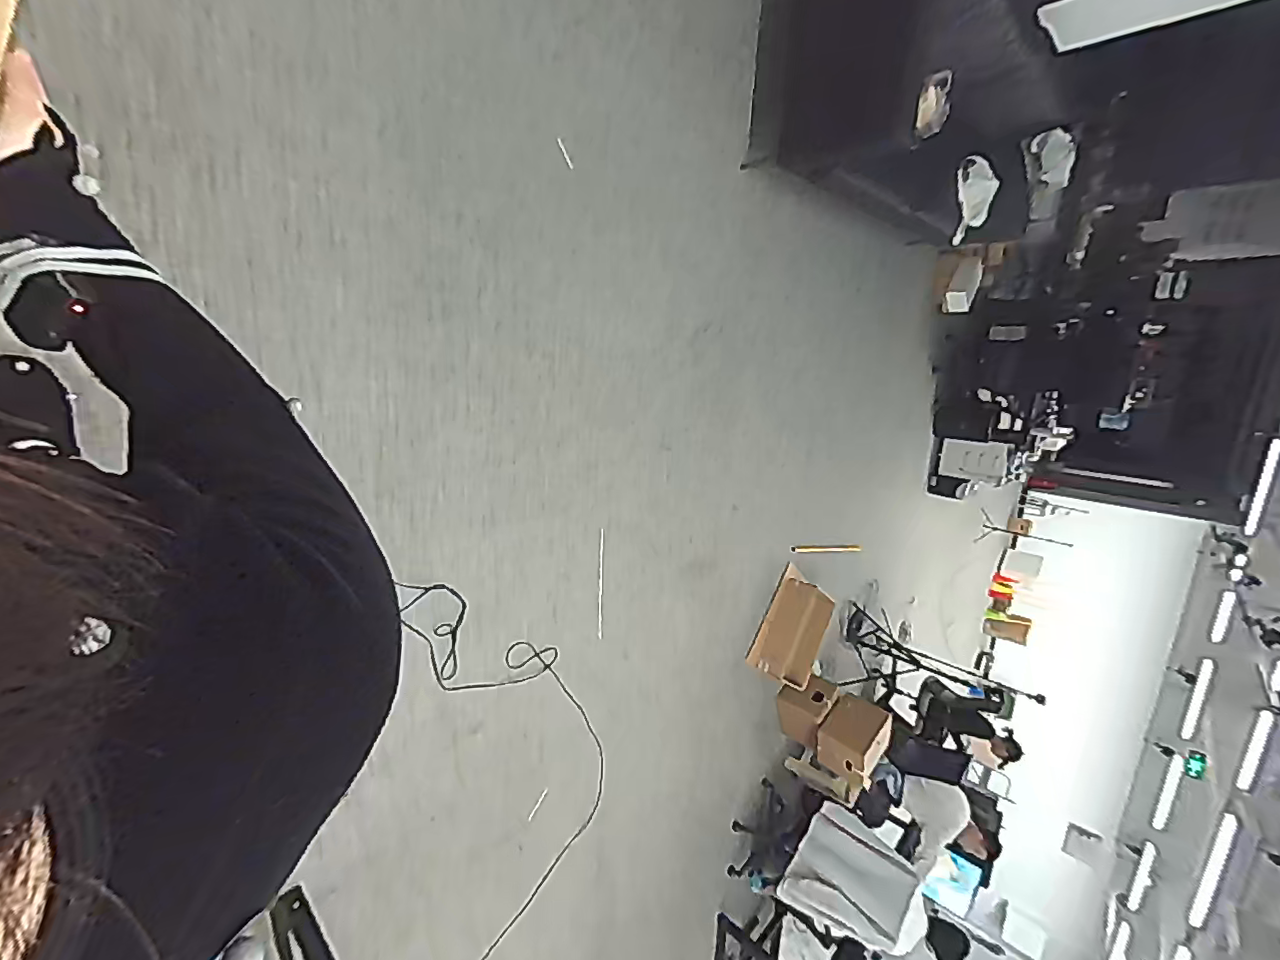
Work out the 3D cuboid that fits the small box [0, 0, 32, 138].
[{"bbox_3d":[-0.489,-0.335,0.321,0.168,0.176,0.179,11,95,-52],"label":"small box"}]
